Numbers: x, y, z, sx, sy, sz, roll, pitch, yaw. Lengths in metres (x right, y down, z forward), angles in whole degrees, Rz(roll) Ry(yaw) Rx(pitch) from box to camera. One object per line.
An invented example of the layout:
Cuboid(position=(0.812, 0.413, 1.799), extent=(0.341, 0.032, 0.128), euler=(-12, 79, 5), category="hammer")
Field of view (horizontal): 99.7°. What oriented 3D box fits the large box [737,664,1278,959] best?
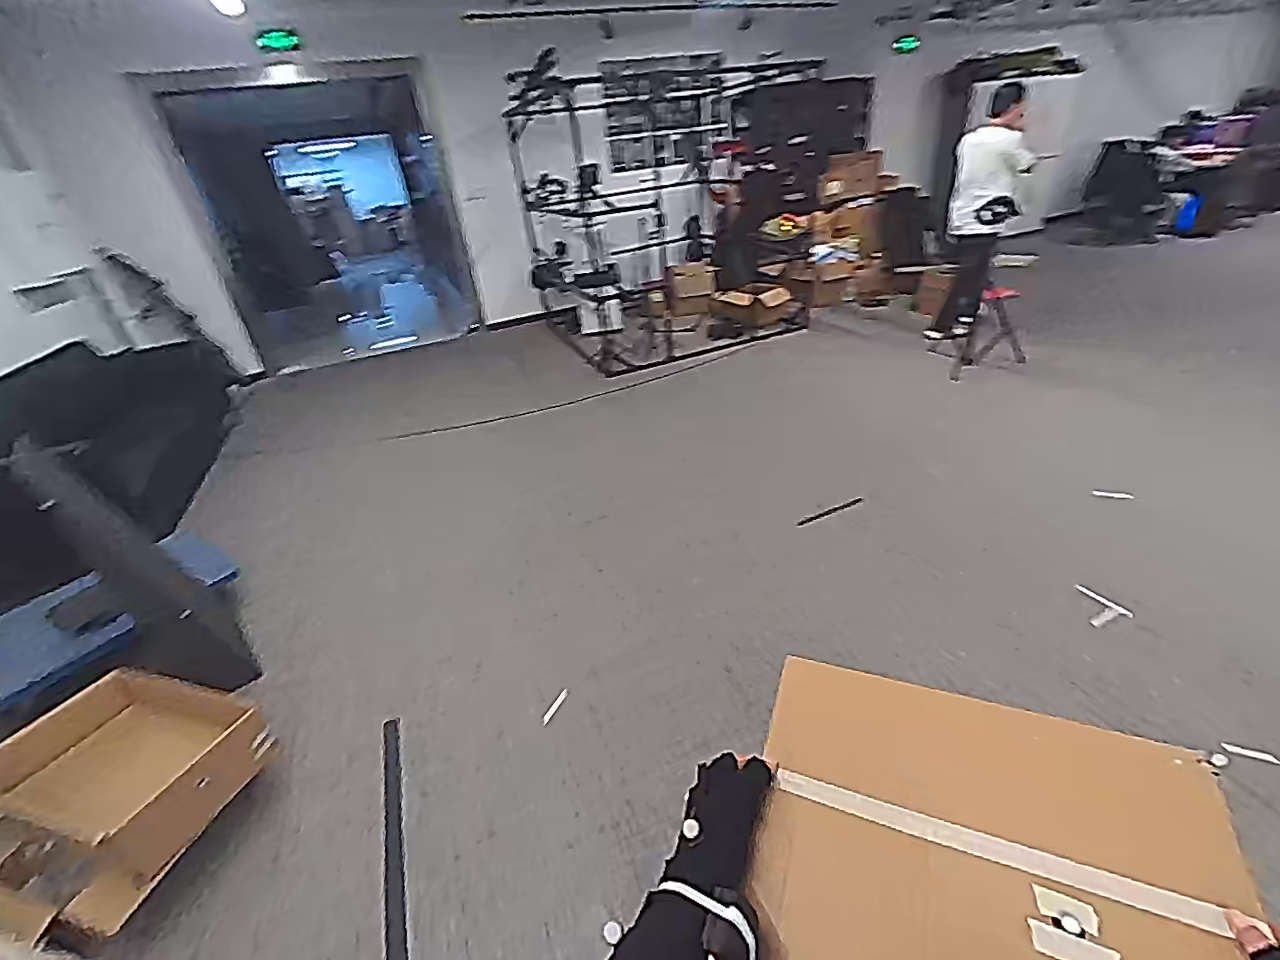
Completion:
Cuboid(position=(0.348, 0.465, 0.597), extent=(0.408, 0.320, 0.320), euler=(7, 40, 26), category="large box")
